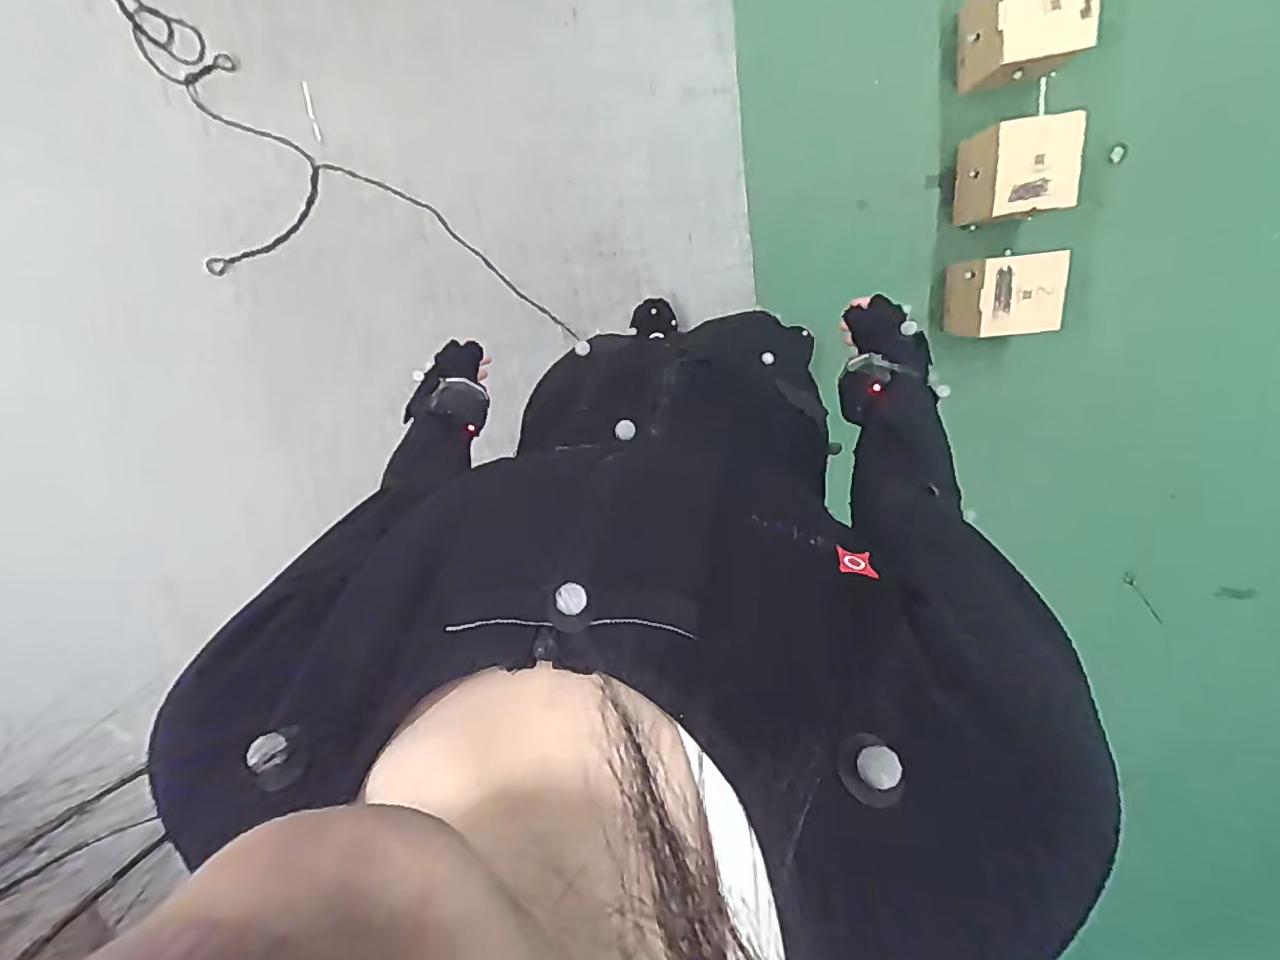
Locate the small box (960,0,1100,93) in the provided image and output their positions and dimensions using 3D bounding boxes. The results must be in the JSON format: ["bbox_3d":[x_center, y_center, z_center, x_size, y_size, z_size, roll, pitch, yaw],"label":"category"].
[{"bbox_3d":[0.770,-0.910,1.083,0.179,0.176,0.168,-7,108,6],"label":"small box"}]
